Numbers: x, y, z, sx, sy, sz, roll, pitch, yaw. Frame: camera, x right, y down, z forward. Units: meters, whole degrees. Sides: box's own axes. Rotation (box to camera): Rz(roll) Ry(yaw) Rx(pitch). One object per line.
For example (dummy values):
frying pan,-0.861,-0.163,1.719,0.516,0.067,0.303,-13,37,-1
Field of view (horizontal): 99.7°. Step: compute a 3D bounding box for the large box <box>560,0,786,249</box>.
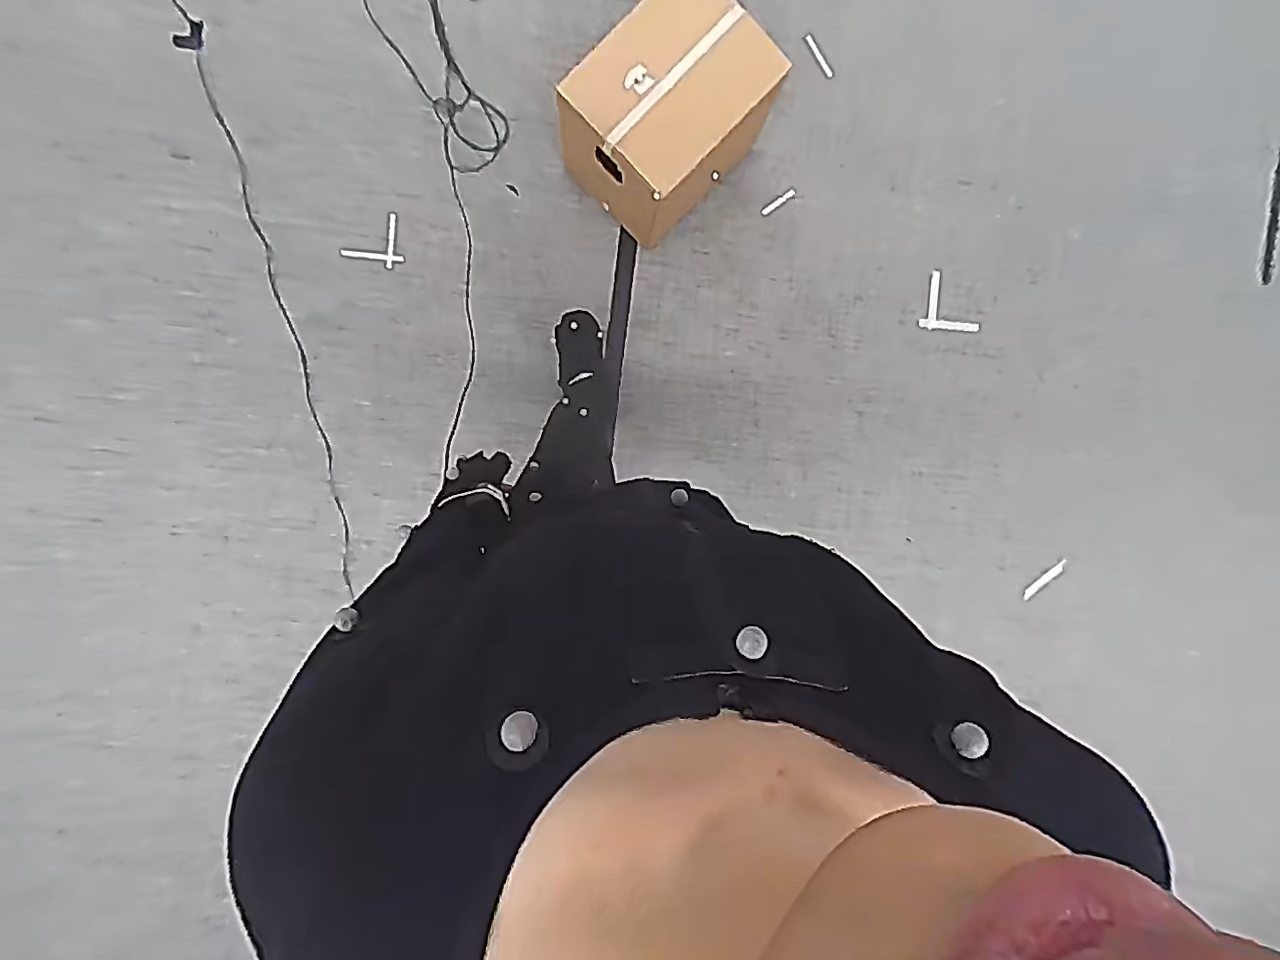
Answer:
large box,0.063,-0.849,1.287,0.320,0.320,0.408,44,90,-5
